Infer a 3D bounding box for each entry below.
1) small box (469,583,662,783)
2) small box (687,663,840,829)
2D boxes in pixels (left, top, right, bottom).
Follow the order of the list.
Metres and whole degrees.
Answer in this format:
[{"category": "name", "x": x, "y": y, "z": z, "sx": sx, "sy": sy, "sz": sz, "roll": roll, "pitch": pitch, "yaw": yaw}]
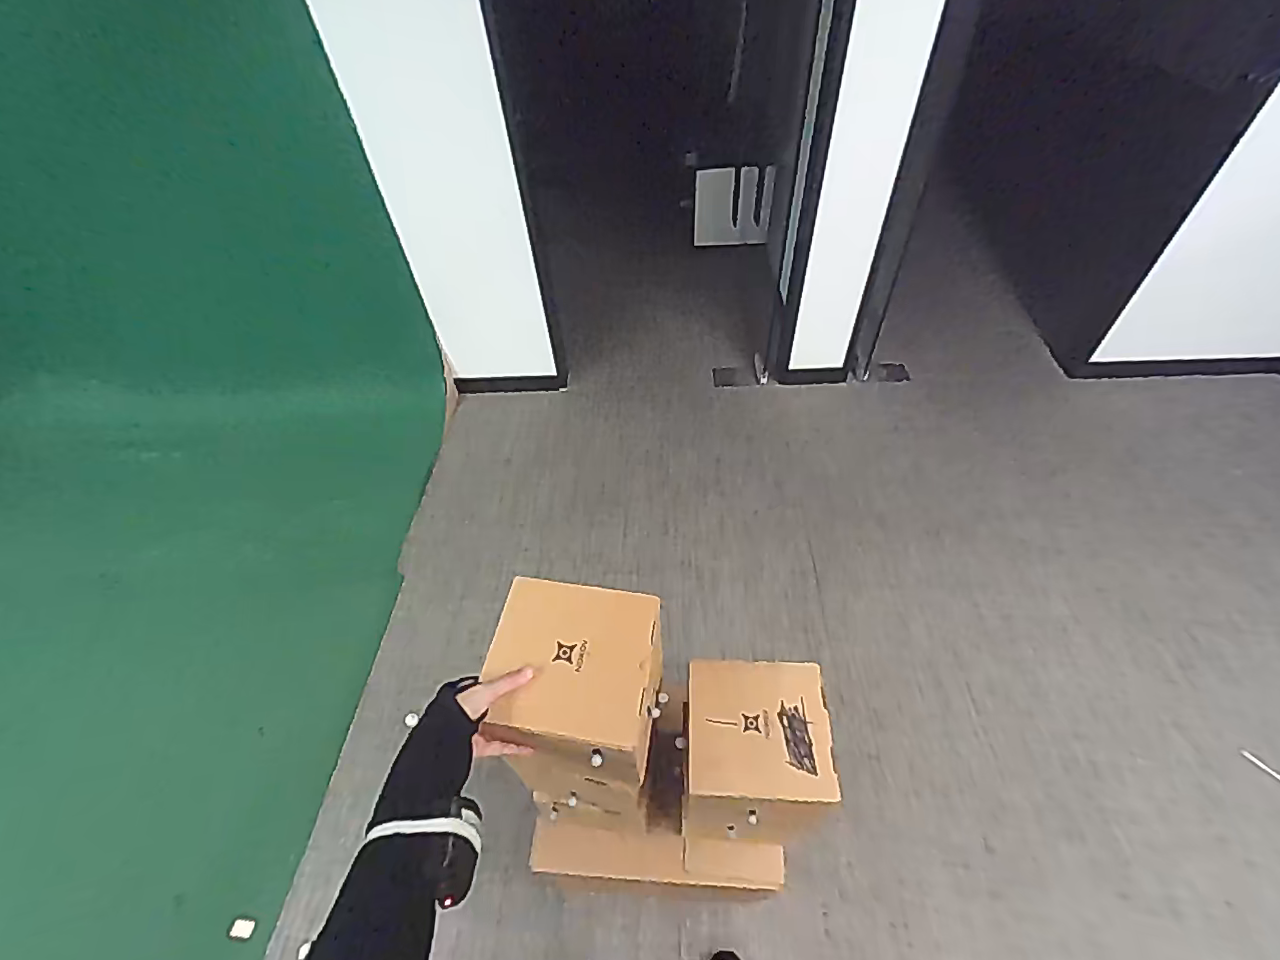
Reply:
[{"category": "small box", "x": -0.071, "y": 0.243, "z": 0.641, "sx": 0.179, "sy": 0.176, "sz": 0.168, "roll": 5, "pitch": 51, "yaw": 8}, {"category": "small box", "x": 0.154, "y": 0.363, "z": 0.735, "sx": 0.179, "sy": 0.176, "sz": 0.168, "roll": -1, "pitch": 48, "yaw": 6}]
